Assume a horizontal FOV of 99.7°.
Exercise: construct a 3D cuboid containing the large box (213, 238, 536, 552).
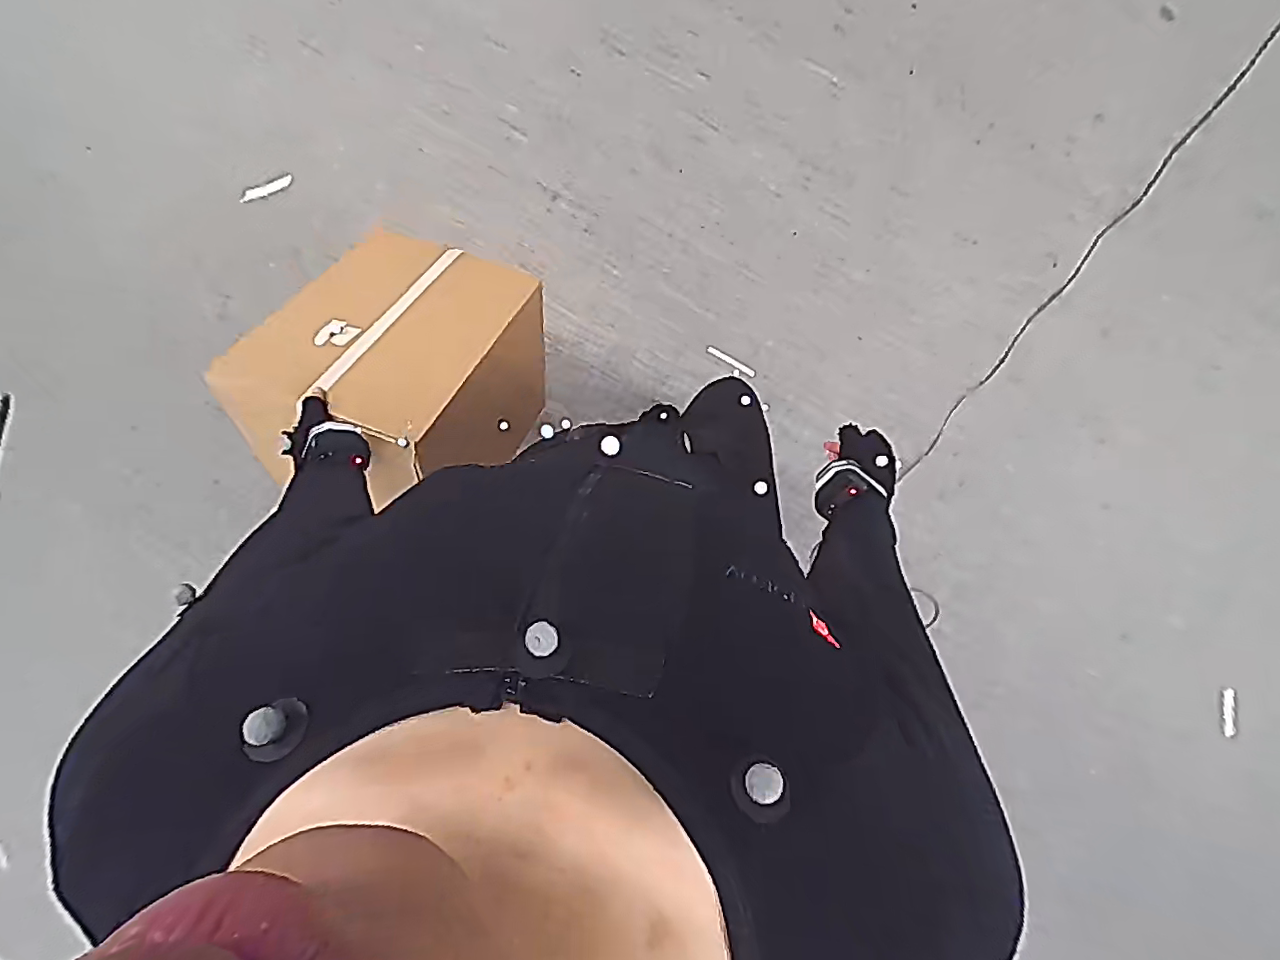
[{"bbox_3d":[-0.403,-0.150,0.957,0.320,0.408,0.320,18,145,5],"label":"large box"}]
